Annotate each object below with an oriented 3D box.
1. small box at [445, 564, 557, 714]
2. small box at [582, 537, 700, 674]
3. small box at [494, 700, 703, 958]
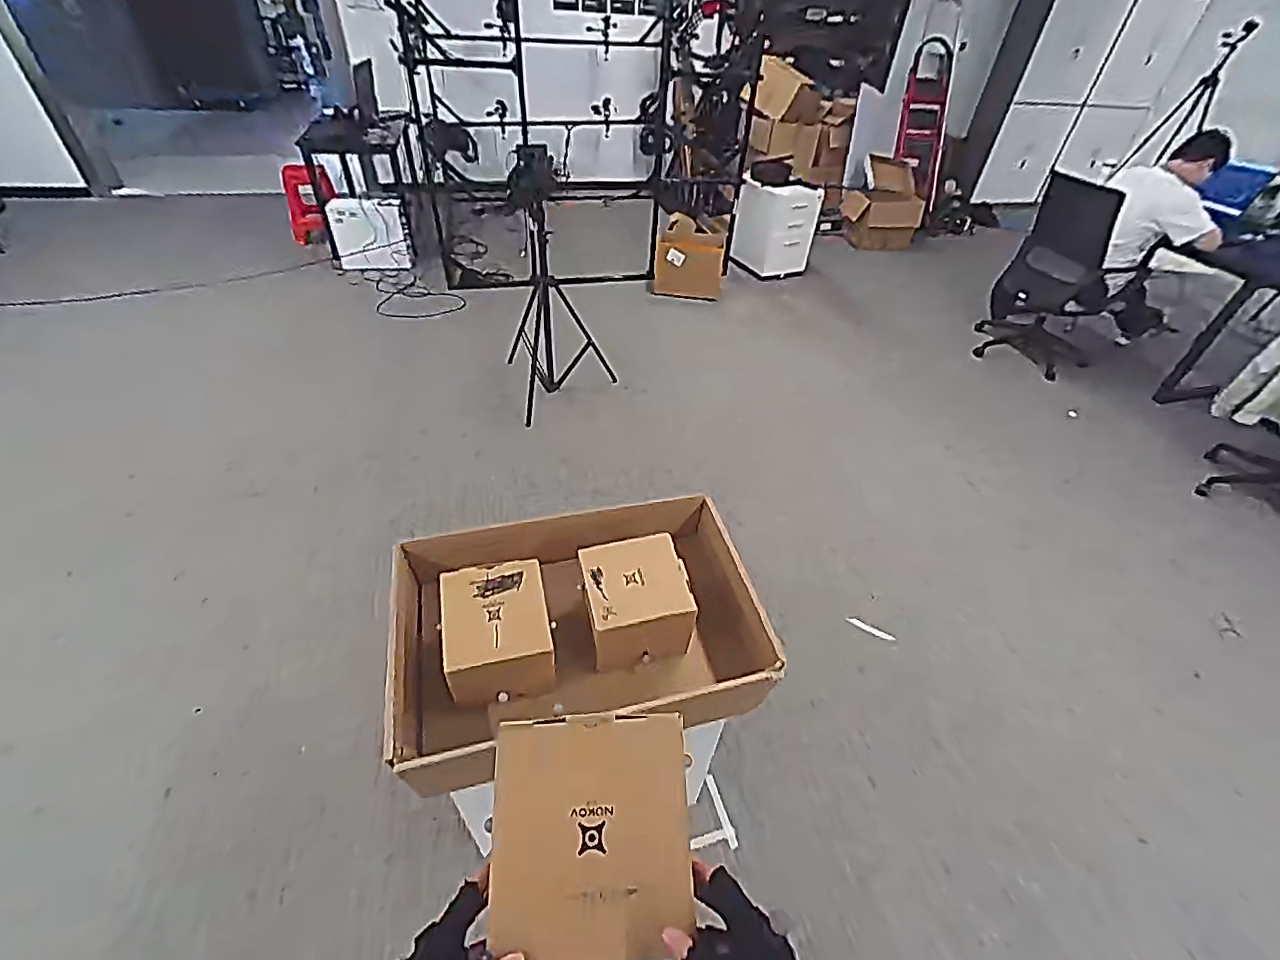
[{"bbox_3d":[-0.237,0.272,0.930,0.168,0.176,0.179,-8,49,-14],"label":"small box"},{"bbox_3d":[-0.007,0.231,0.995,0.179,0.176,0.168,-9,48,-12],"label":"small box"},{"bbox_3d":[-0.040,0.315,0.524,0.168,0.176,0.179,-2,67,-4],"label":"small box"}]
